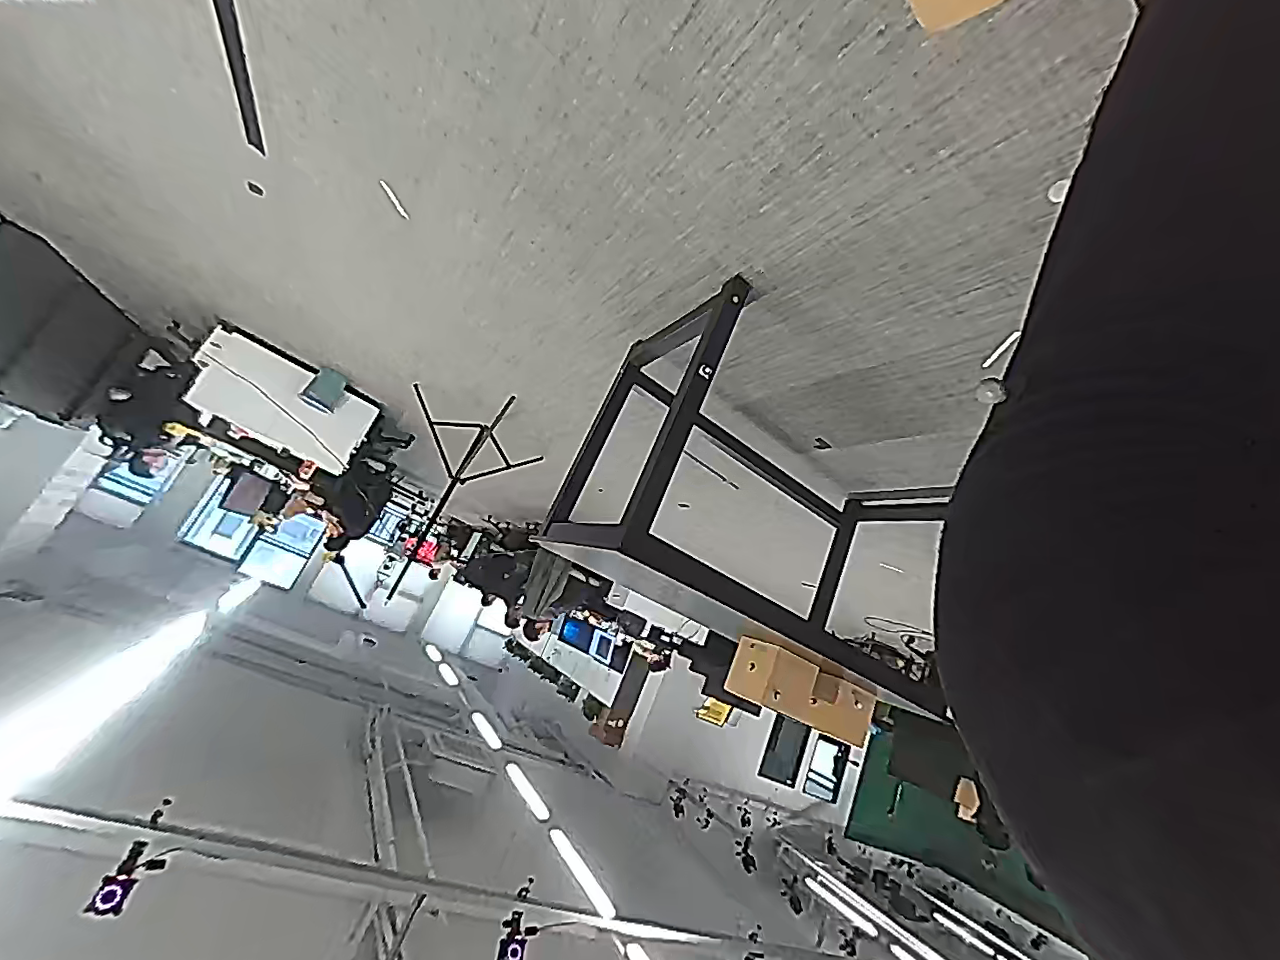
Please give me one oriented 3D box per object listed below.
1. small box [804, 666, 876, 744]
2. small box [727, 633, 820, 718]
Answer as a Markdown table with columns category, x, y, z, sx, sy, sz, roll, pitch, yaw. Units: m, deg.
| category | x | y | z | sx | sy | sz | roll | pitch | yaw |
| --- | --- | --- | --- | --- | --- | --- | --- | --- | --- |
| small box | 0.609 | 0.695 | 1.702 | 0.168 | 0.176 | 0.179 | 30 | 162 | -21 |
| small box | 0.396 | 0.571 | 1.599 | 0.179 | 0.176 | 0.168 | 31 | 164 | -22 |
